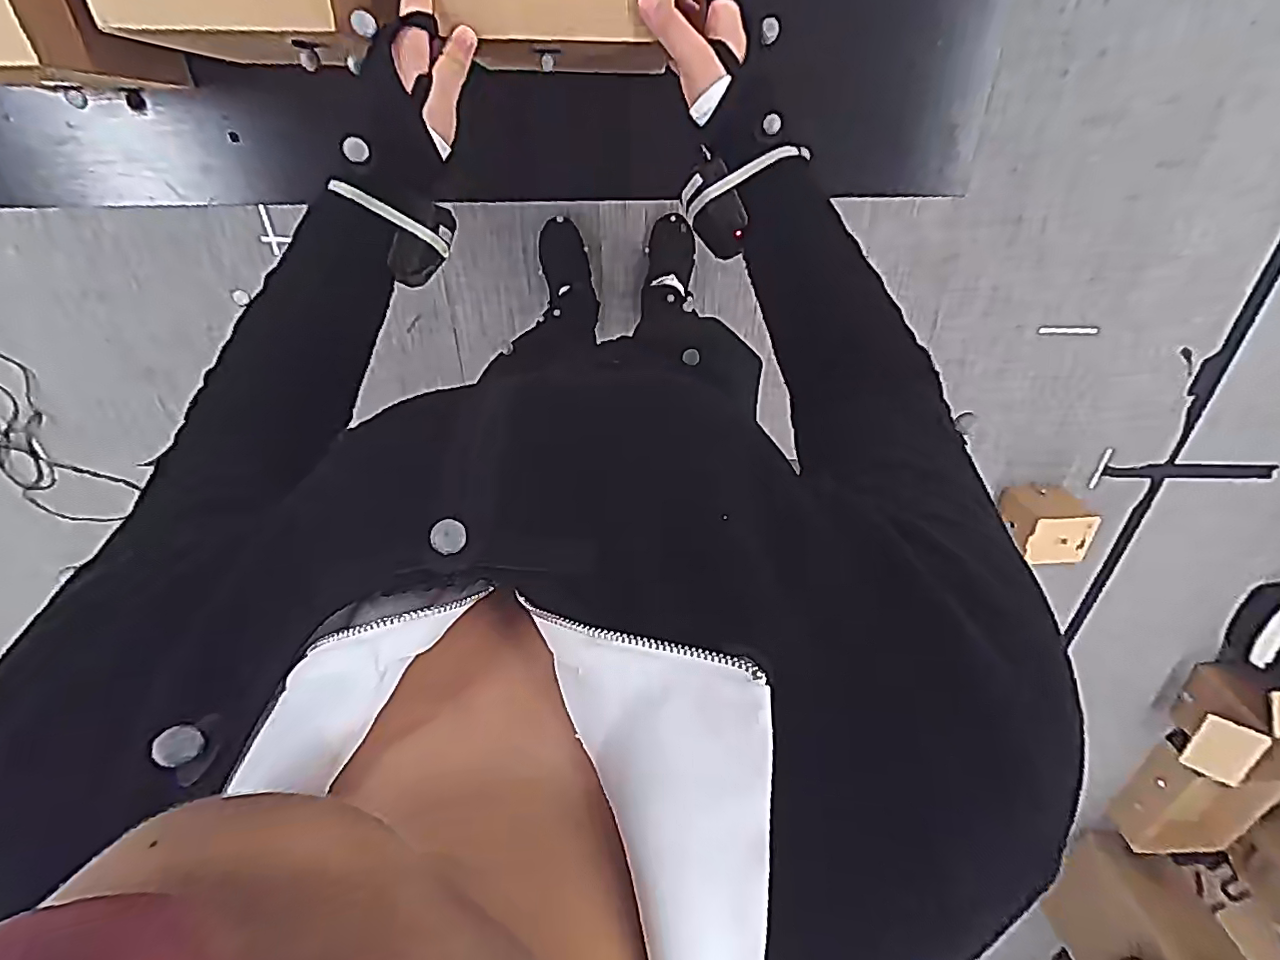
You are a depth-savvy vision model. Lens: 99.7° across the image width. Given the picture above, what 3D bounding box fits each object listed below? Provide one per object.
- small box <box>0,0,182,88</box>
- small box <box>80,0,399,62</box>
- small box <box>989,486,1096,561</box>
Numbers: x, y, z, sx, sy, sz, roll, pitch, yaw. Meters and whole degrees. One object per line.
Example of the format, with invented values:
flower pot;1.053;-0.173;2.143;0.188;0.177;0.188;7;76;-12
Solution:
small box;-0.523;-0.419;0.417;0.168;0.176;0.179;0;122;1
small box;-0.303;-0.433;0.410;0.179;0.176;0.168;0;121;-1
small box;1.194;0.128;1.624;0.179;0.176;0.168;-2;122;1
